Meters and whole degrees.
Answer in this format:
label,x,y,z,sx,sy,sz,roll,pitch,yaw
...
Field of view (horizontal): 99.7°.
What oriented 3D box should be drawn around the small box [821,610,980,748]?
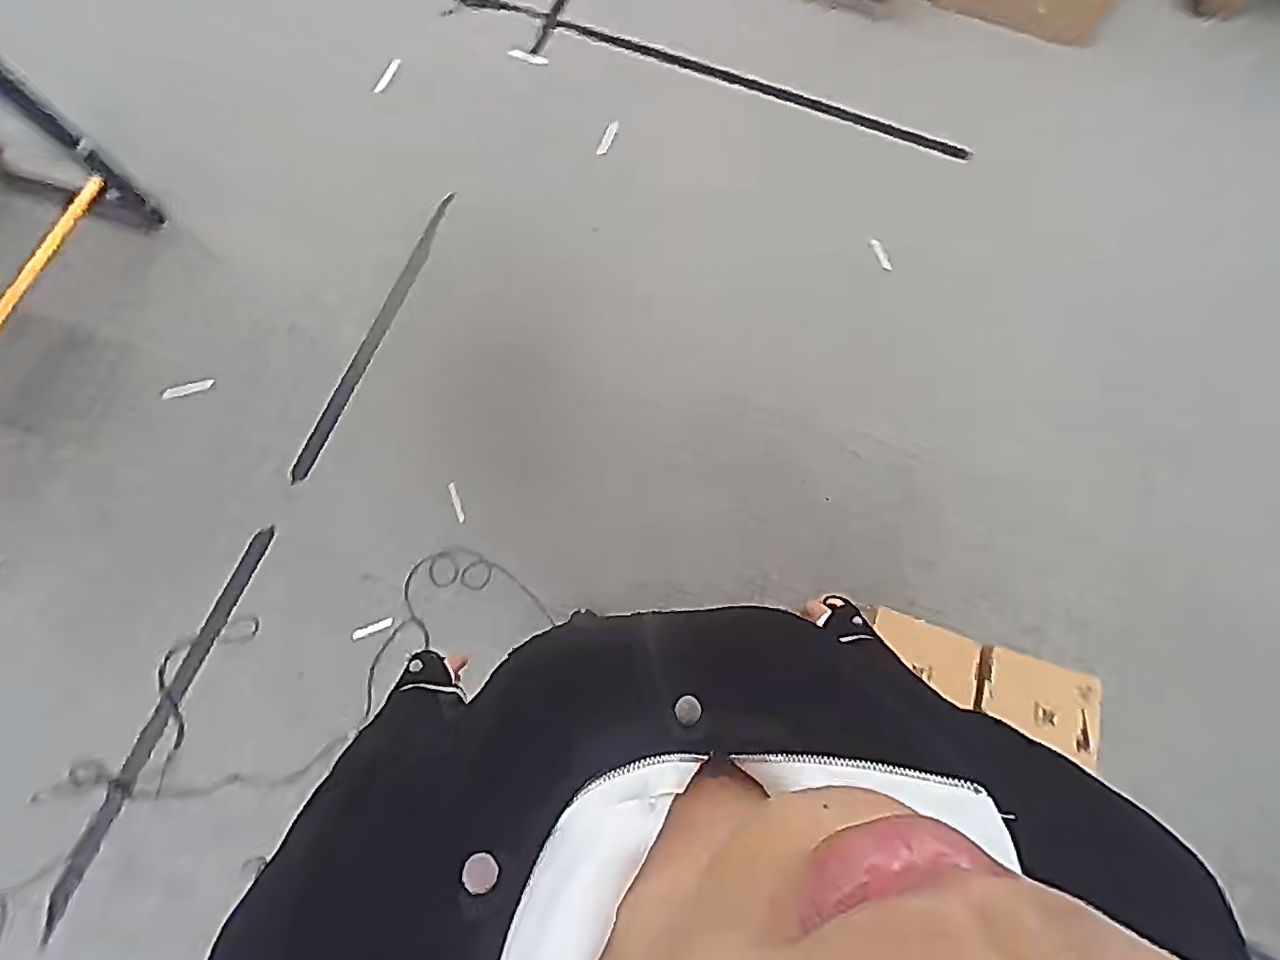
label,x,y,z,sx,sy,sz,roll,pitch,yaw
small box,0.443,0.336,0.940,0.179,0.176,0.168,20,74,5
